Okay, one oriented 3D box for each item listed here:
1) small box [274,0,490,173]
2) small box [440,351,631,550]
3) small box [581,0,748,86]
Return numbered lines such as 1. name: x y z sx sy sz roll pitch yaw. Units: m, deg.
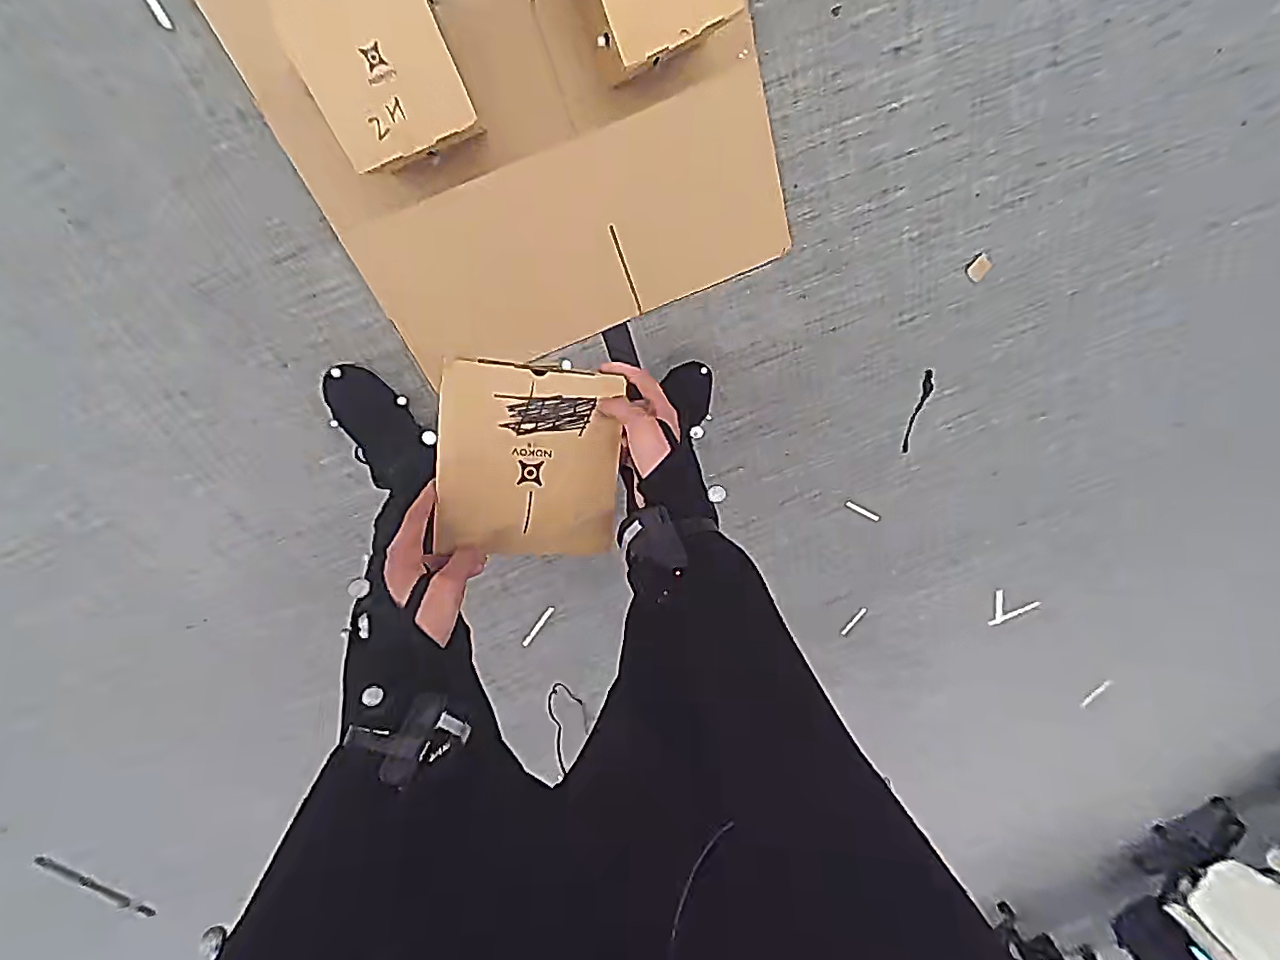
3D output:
1. small box: -0.306 -0.512 0.687 0.168 0.176 0.179 -22 122 2
2. small box: -0.119 -0.034 0.572 0.168 0.176 0.179 4 100 -19
3. small box: 0.013 -0.644 0.690 0.168 0.176 0.179 -25 122 3
